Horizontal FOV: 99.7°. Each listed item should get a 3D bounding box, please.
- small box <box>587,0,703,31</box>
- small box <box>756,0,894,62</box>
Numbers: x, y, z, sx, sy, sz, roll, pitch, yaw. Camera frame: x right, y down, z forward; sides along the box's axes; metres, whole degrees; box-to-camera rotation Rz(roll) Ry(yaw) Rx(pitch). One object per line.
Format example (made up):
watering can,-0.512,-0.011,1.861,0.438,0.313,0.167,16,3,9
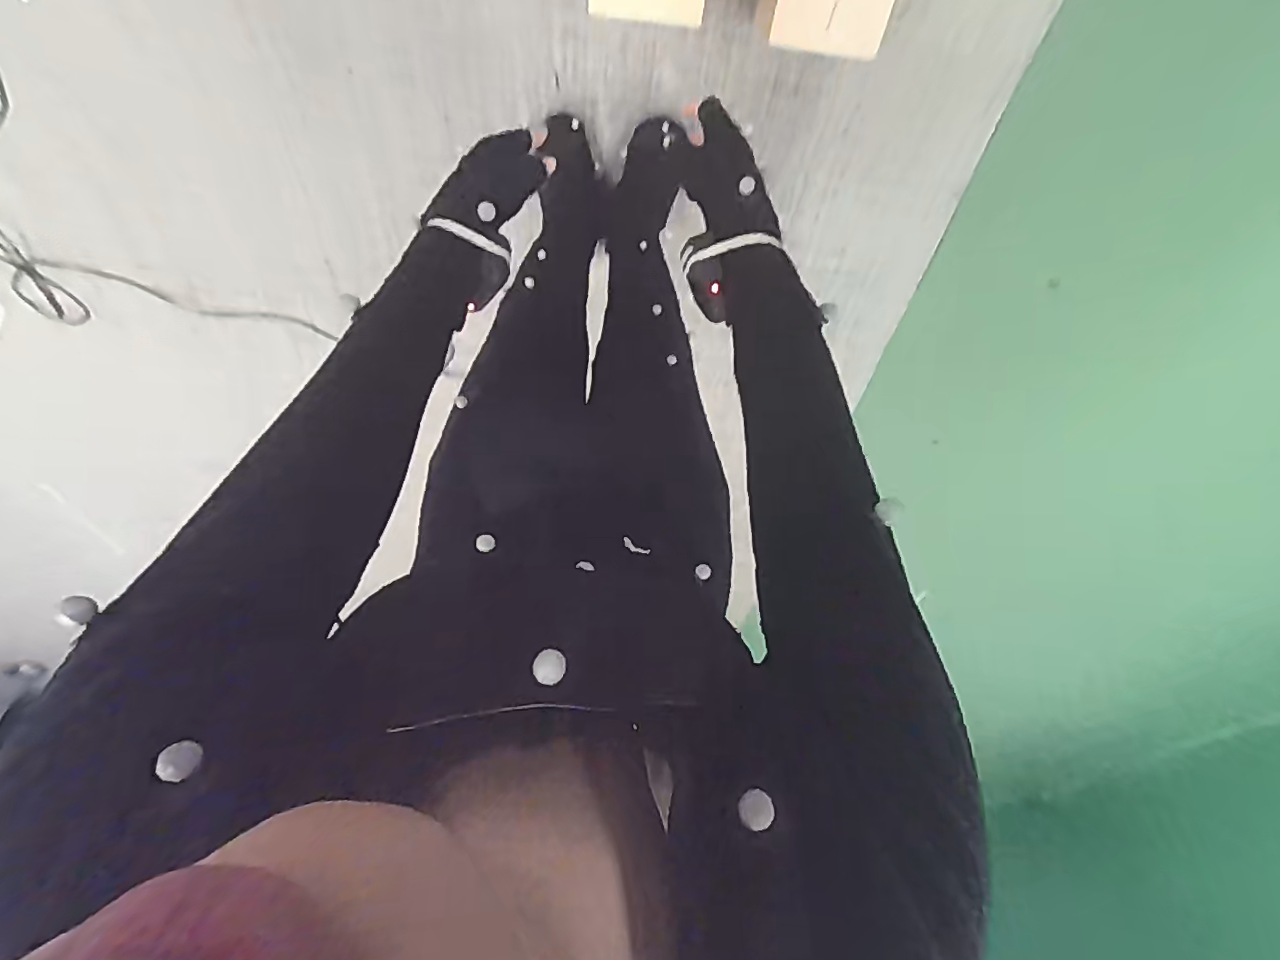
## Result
small box,0.016,-0.774,0.769,0.168,0.176,0.179,4,137,-4
small box,0.277,-0.747,0.792,0.168,0.176,0.179,4,138,-4
